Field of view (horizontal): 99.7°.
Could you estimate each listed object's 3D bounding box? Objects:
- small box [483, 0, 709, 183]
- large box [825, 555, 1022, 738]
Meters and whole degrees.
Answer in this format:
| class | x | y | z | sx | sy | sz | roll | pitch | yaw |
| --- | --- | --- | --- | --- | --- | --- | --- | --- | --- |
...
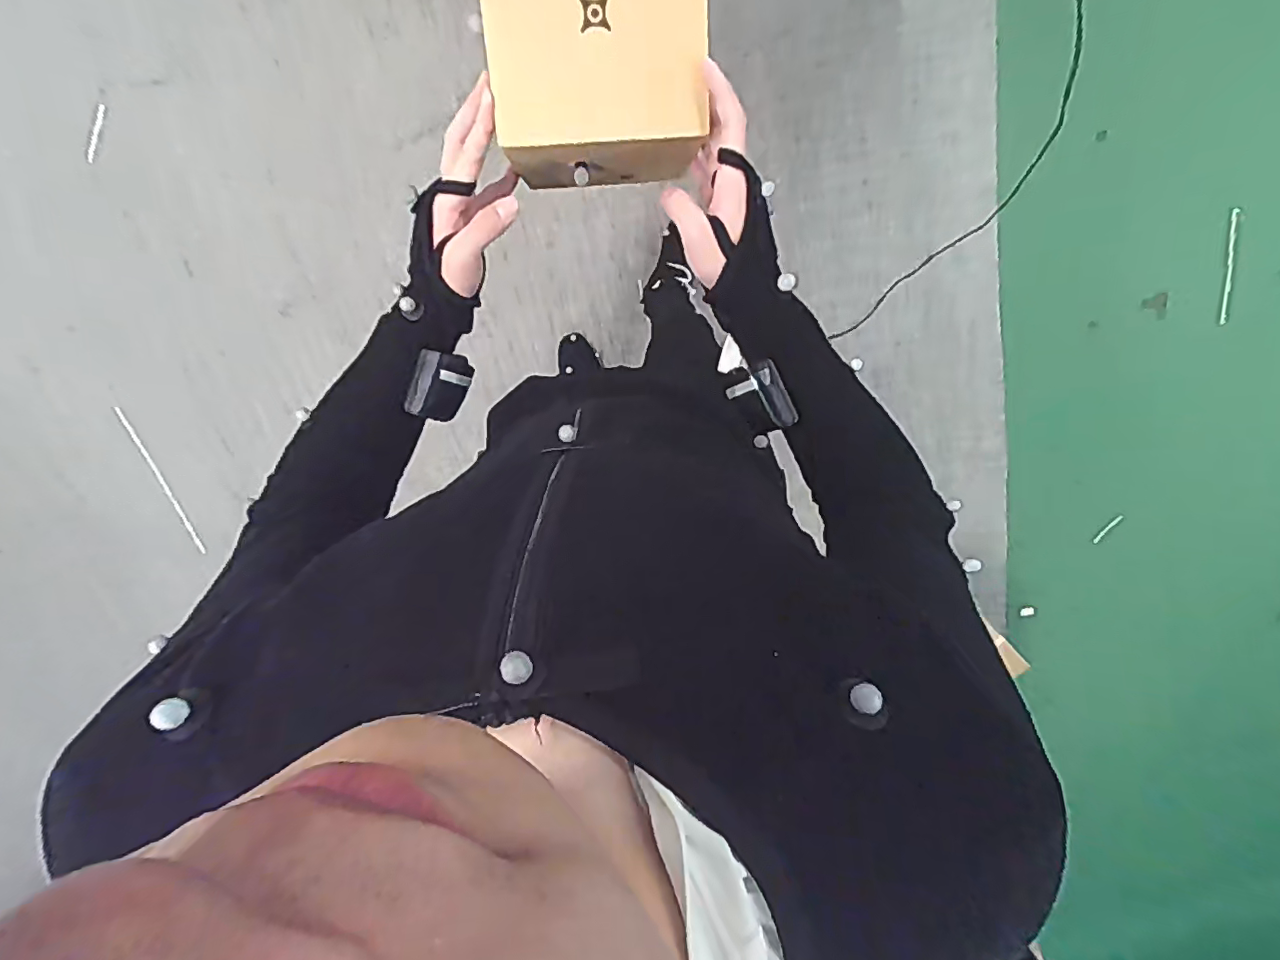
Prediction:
| class | x | y | z | sx | sy | sz | roll | pitch | yaw |
| --- | --- | --- | --- | --- | --- | --- | --- | --- | --- |
| small box | -0.034 | -0.368 | 0.467 | 0.168 | 0.176 | 0.179 | -5 | 108 | -2 |
| large box | 0.891 | 0.528 | 1.752 | 0.320 | 0.320 | 0.408 | 42 | 101 | -16 |
